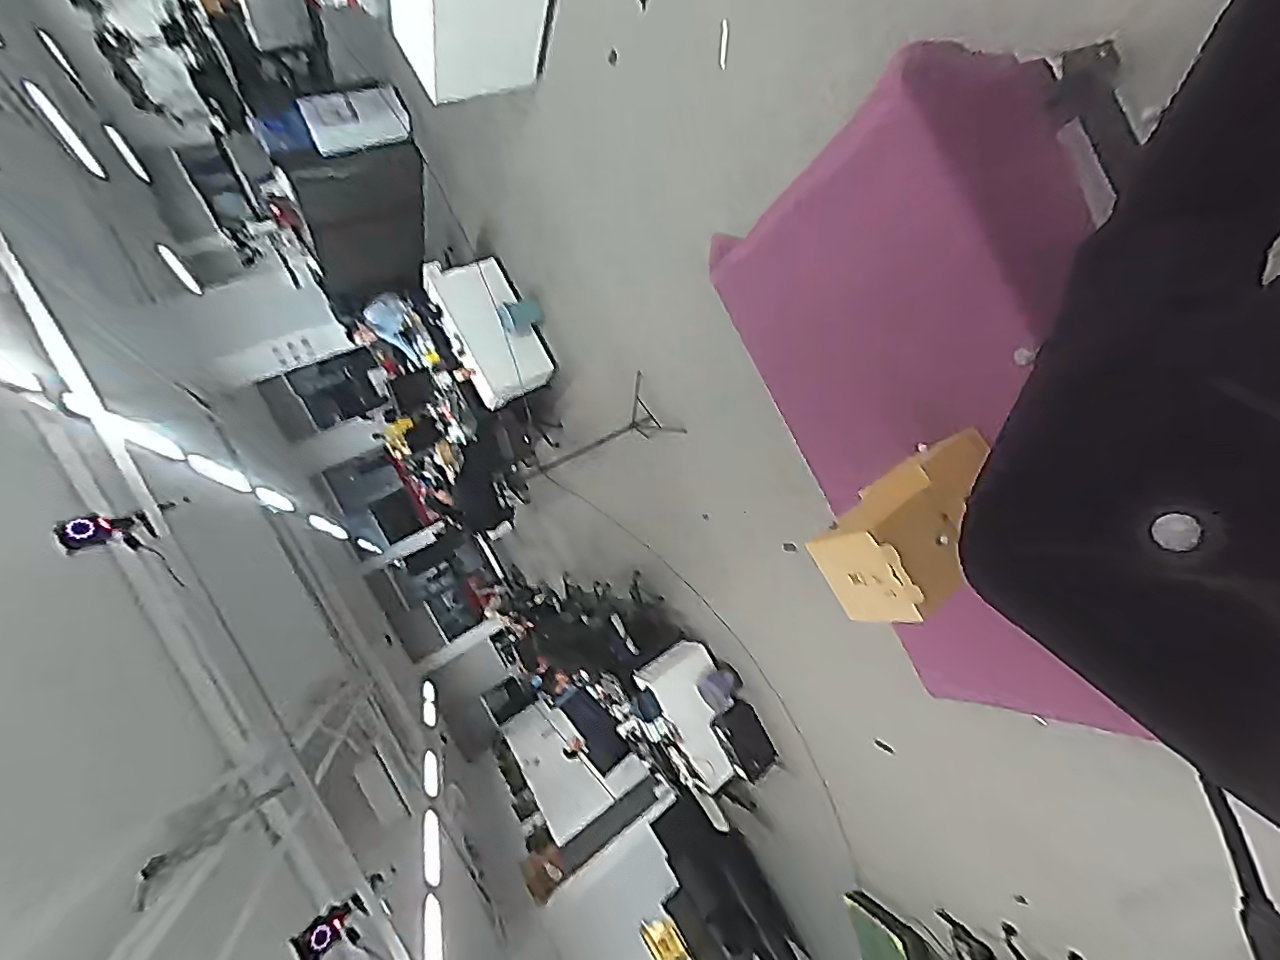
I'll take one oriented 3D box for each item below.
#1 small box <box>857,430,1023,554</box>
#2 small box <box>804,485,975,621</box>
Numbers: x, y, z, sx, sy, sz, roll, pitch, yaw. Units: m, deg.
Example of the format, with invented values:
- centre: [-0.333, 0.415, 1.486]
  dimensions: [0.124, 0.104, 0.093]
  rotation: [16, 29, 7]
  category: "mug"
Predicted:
- centre: [0.557, 0.036, 1.007]
  dimensions: [0.179, 0.176, 0.168]
  rotation: [58, 156, 8]
  category: "small box"
- centre: [0.433, 0.130, 0.948]
  dimensions: [0.168, 0.176, 0.179]
  rotation: [59, 157, 2]
  category: "small box"
